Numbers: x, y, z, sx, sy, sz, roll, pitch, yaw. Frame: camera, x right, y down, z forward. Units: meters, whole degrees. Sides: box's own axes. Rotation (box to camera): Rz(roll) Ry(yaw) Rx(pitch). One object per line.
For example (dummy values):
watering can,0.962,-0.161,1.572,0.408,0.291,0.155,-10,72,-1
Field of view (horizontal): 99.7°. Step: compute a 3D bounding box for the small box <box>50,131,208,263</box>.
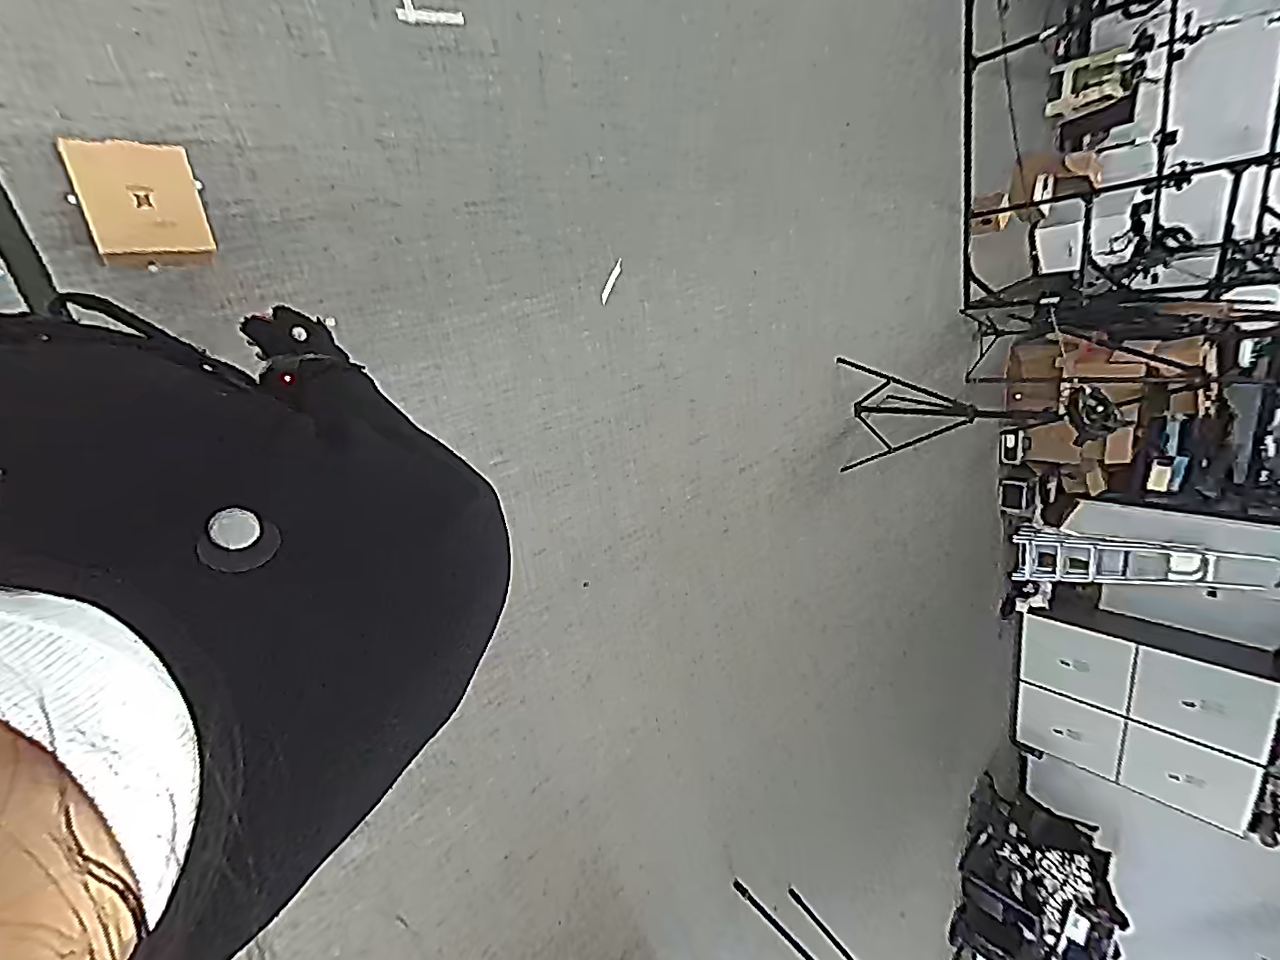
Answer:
small box,-0.929,-0.507,0.994,0.168,0.176,0.179,-20,111,-37
